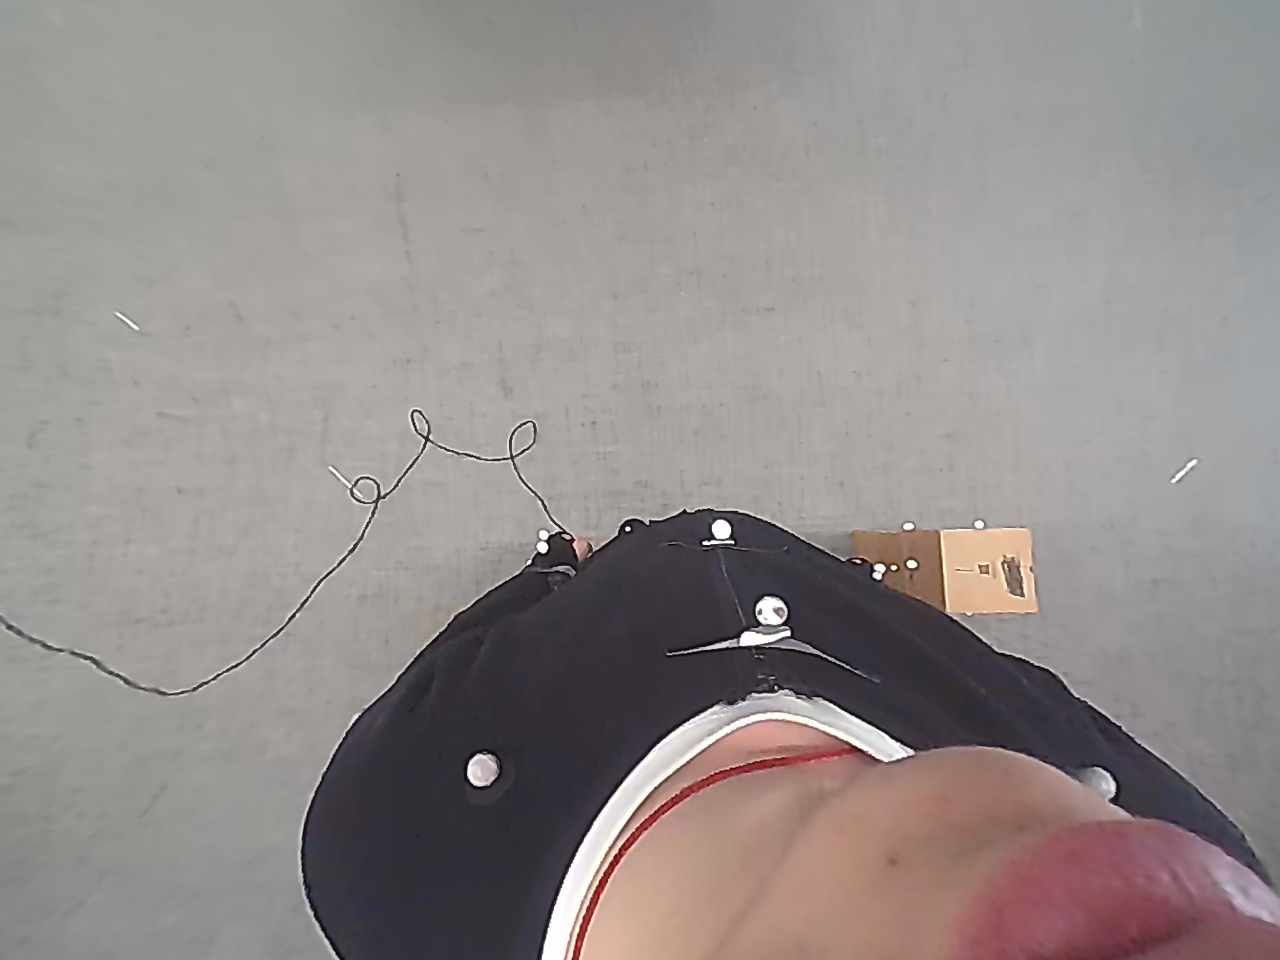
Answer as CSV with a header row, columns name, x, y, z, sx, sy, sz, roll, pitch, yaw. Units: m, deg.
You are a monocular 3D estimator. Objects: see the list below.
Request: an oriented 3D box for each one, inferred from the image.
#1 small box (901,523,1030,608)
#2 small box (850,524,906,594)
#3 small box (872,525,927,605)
name,x,y,z,sx,sy,sz,roll,pitch,yaw
small box,0.678,0.176,1.144,0.179,0.176,0.168,-1,85,3
small box,0.683,0.210,1.469,0.168,0.176,0.179,-1,86,1
small box,0.678,0.198,1.309,0.168,0.176,0.179,-3,88,2
